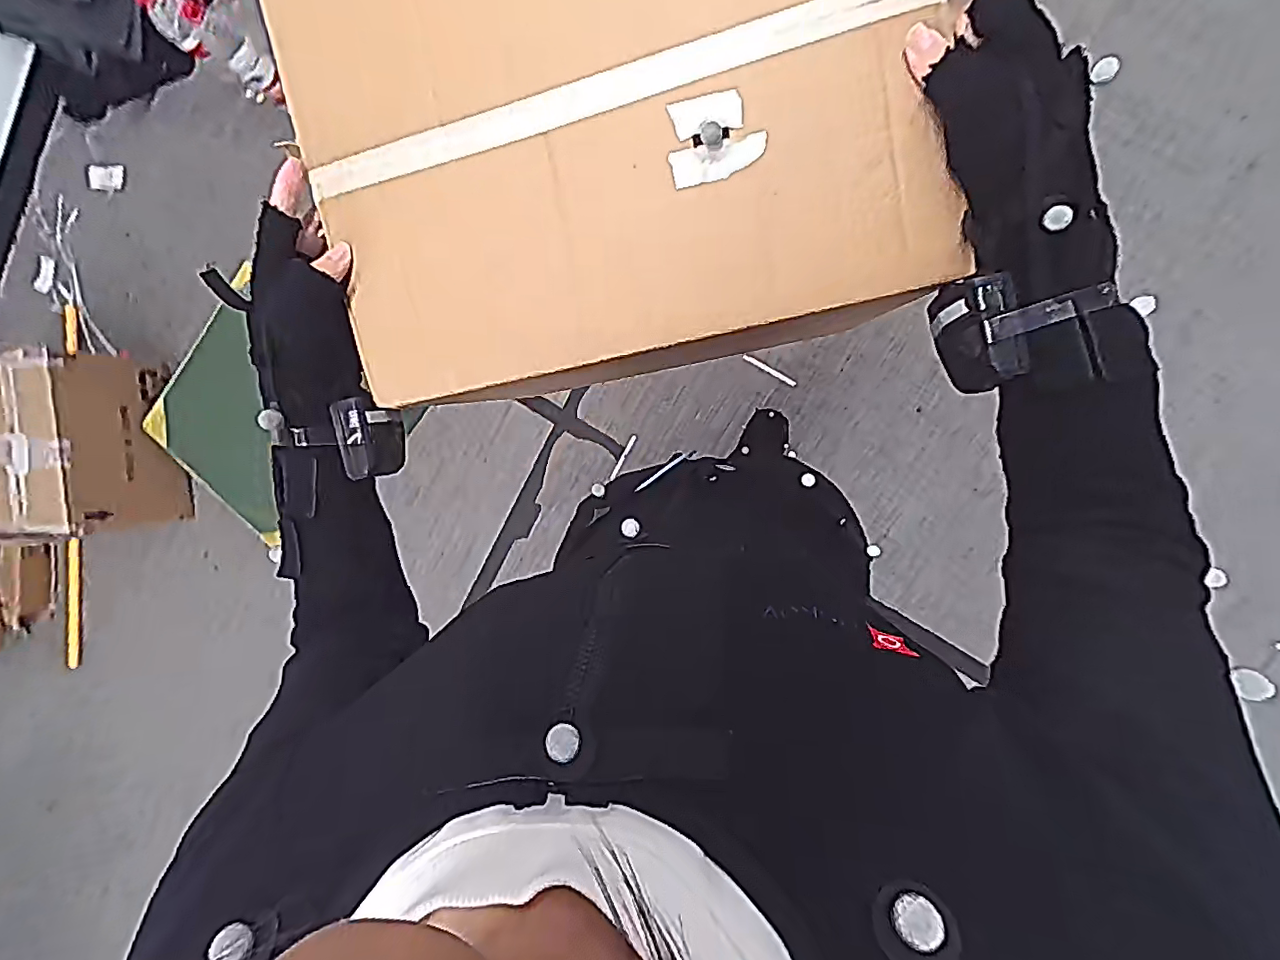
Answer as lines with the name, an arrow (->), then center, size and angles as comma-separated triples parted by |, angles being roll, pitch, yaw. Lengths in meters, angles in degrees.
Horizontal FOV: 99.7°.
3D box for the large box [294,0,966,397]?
large box -> 0.001, -0.271, 0.494 | 0.408, 0.320, 0.320 | -10, 99, 10
